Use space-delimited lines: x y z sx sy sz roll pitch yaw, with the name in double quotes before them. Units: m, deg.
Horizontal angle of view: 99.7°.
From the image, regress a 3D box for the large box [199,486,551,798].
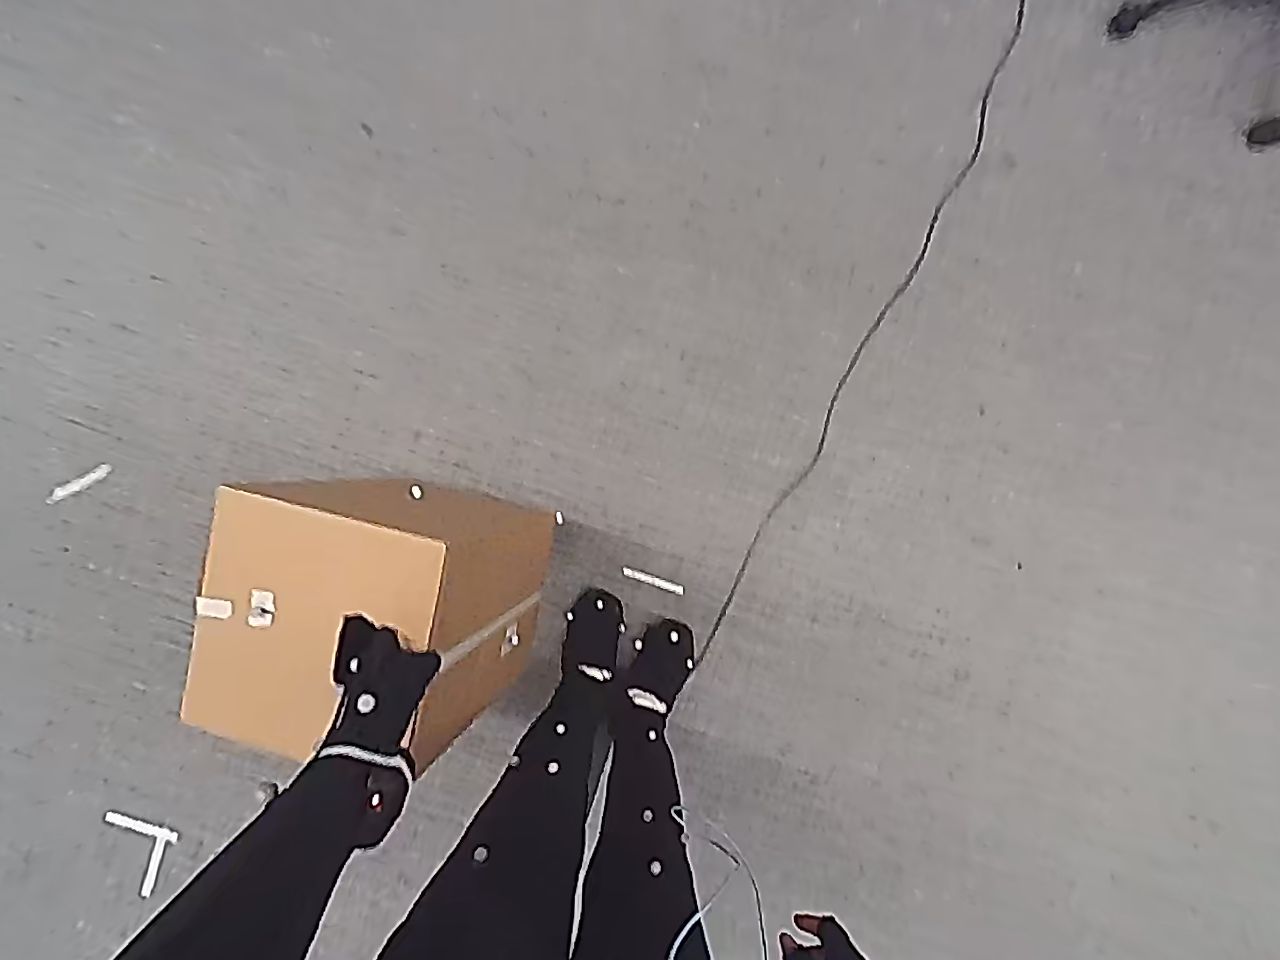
"large box" -0.368 0.197 0.849 0.320 0.408 0.320 13 94 7
